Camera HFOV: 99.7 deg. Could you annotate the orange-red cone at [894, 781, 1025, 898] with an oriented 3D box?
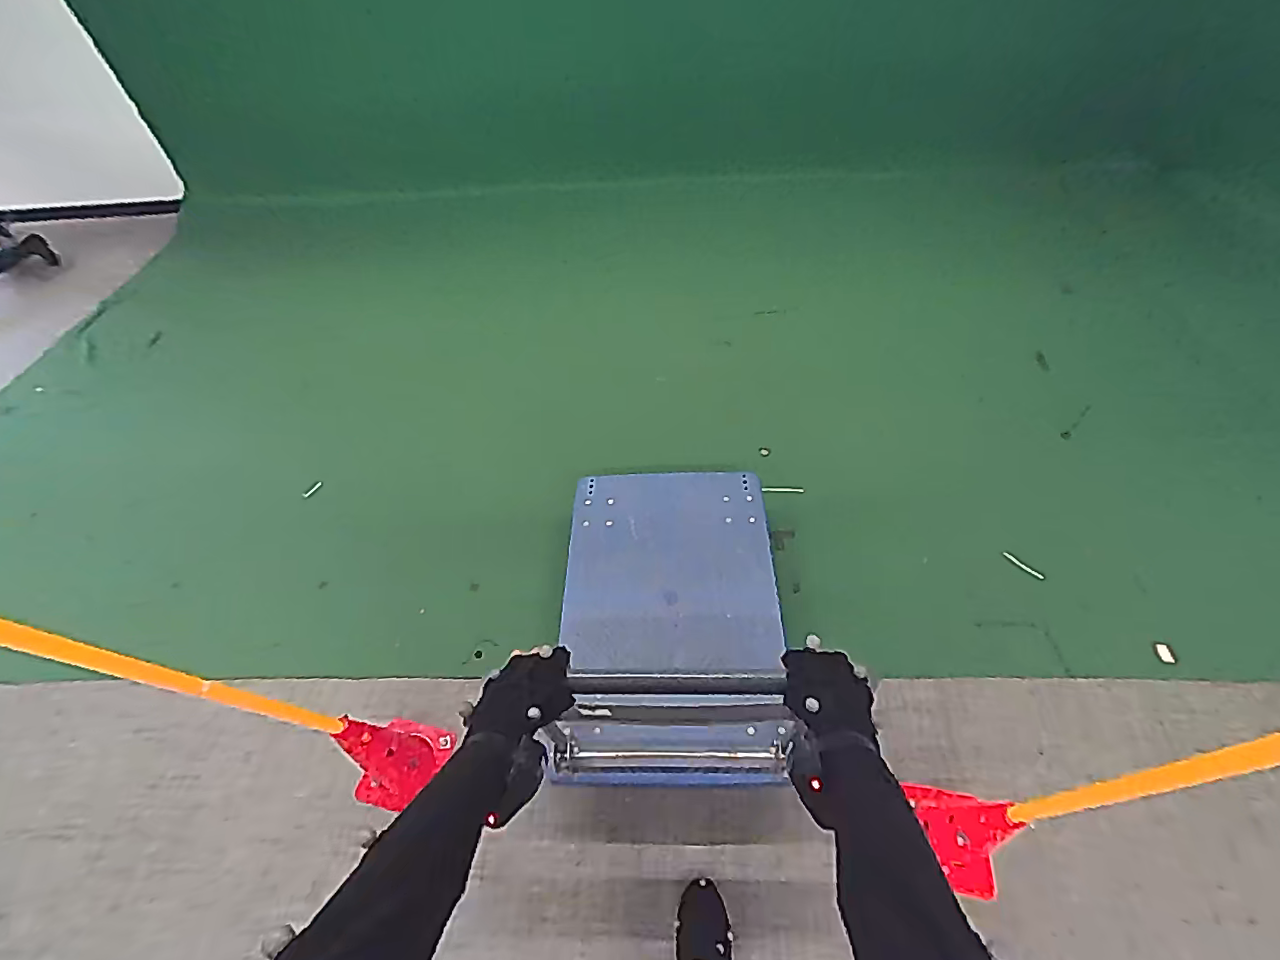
[{"bbox_3d":[0.671,0.696,1.087,0.198,0.360,0.199,7,52,11],"label":"orange-red cone"}]
